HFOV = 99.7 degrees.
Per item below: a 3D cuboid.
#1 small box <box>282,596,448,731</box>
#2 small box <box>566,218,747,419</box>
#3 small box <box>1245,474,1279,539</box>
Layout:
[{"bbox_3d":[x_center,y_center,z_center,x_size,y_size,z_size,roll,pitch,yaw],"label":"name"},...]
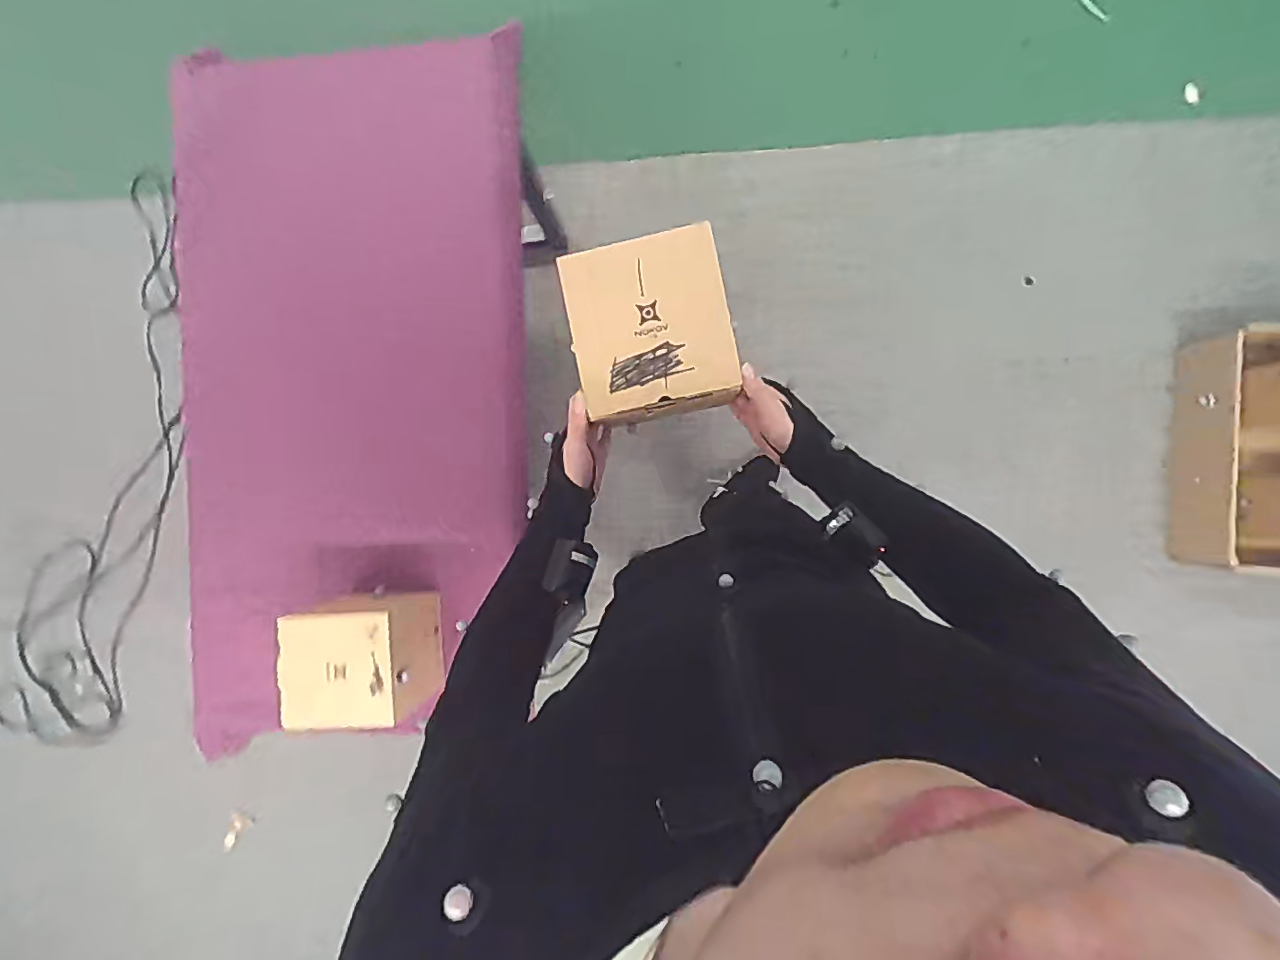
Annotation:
[{"bbox_3d":[-0.432,0.286,0.869,0.179,0.176,0.168,-4,89,6],"label":"small box"},{"bbox_3d":[0.024,-0.170,0.634,0.168,0.176,0.179,-10,91,5],"label":"small box"},{"bbox_3d":[1.692,0.070,1.349,0.179,0.176,0.168,2,88,6],"label":"small box"}]
